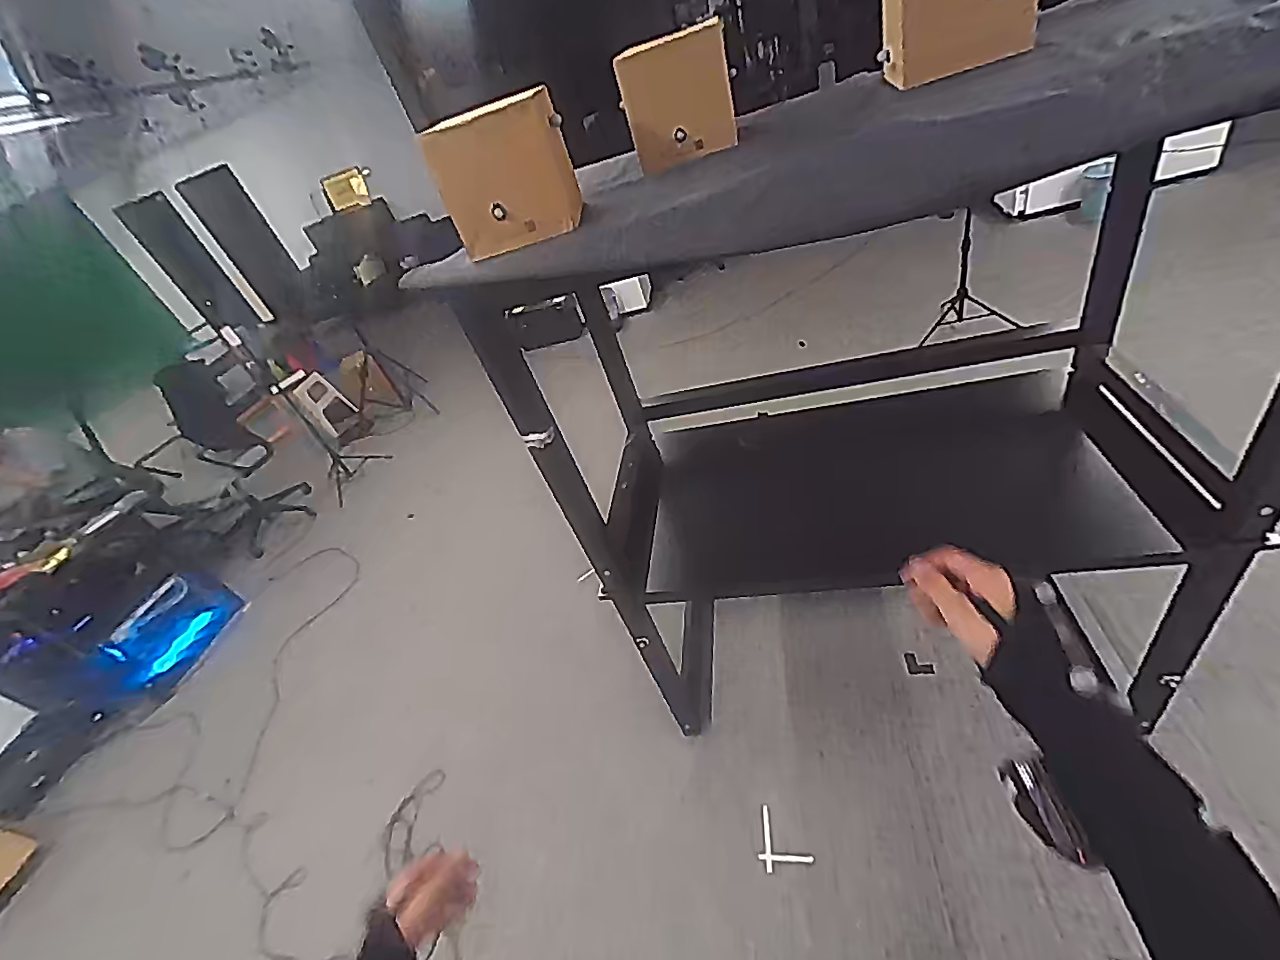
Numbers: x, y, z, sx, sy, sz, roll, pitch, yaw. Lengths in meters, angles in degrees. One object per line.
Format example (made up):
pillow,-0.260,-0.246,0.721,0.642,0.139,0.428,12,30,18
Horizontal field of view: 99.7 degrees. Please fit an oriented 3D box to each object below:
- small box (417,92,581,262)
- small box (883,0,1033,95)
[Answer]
small box,-0.192,-0.445,0.801,0.168,0.176,0.179,-14,39,9
small box,0.469,-0.710,0.811,0.179,0.176,0.168,-7,38,18
